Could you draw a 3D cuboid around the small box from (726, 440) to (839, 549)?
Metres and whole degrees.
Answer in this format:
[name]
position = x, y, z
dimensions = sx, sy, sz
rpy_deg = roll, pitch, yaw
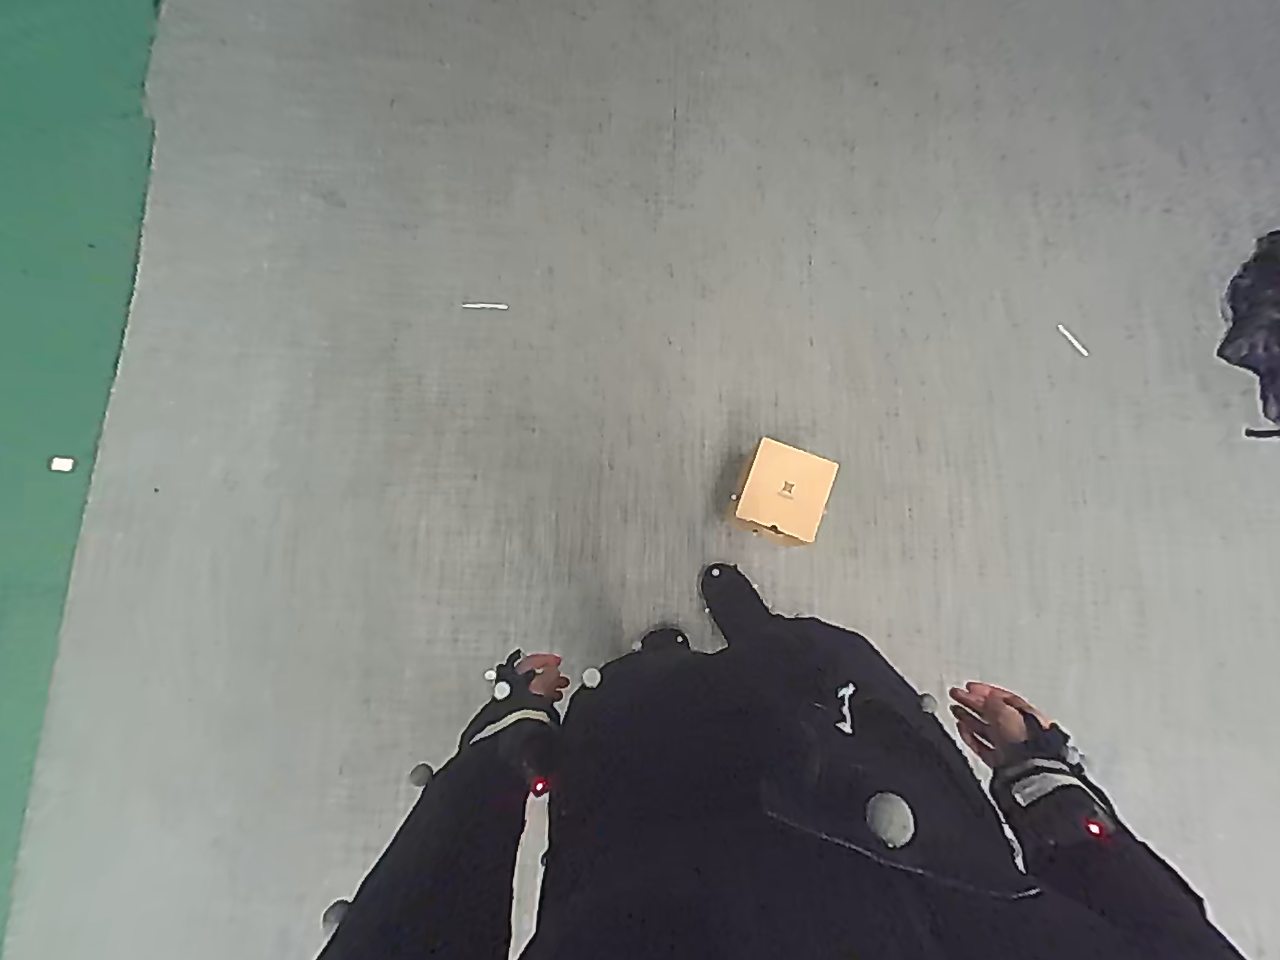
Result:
[small box]
position = 0.295, 0.037, 1.158
dimensions = 0.168, 0.176, 0.179
rpy_deg = 21, 82, 3
